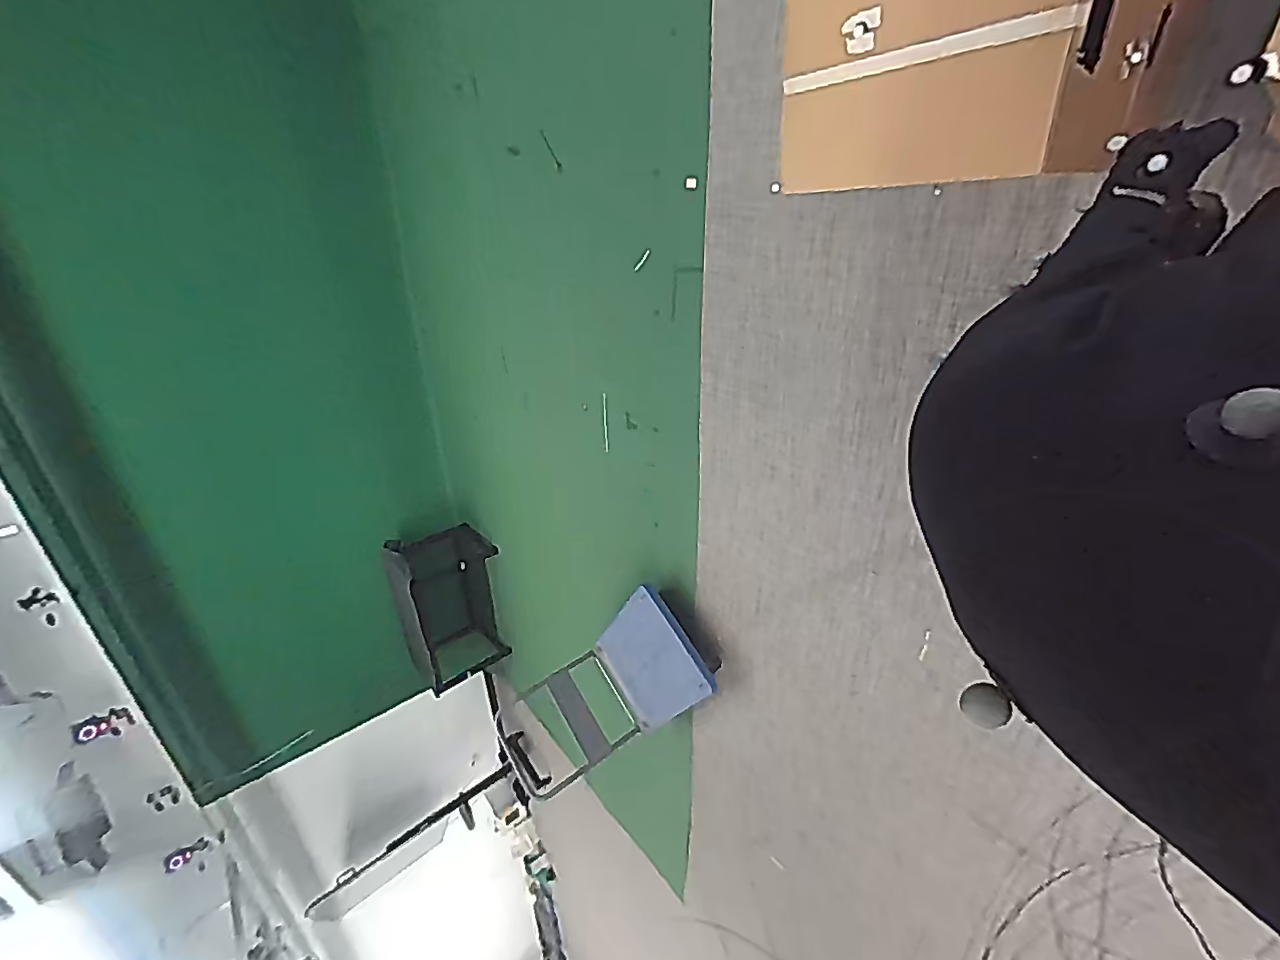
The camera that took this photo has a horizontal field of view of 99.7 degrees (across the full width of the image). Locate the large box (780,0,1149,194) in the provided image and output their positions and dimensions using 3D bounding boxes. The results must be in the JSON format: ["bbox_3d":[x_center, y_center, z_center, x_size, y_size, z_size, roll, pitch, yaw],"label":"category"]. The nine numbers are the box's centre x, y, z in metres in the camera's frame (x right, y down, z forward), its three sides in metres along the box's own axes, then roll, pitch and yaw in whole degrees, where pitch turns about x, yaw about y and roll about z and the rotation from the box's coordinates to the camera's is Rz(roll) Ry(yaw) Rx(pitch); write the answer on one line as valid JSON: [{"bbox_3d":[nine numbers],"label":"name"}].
[{"bbox_3d":[0.478,-0.640,0.834,0.408,0.320,0.320,26,130,45],"label":"large box"}]
